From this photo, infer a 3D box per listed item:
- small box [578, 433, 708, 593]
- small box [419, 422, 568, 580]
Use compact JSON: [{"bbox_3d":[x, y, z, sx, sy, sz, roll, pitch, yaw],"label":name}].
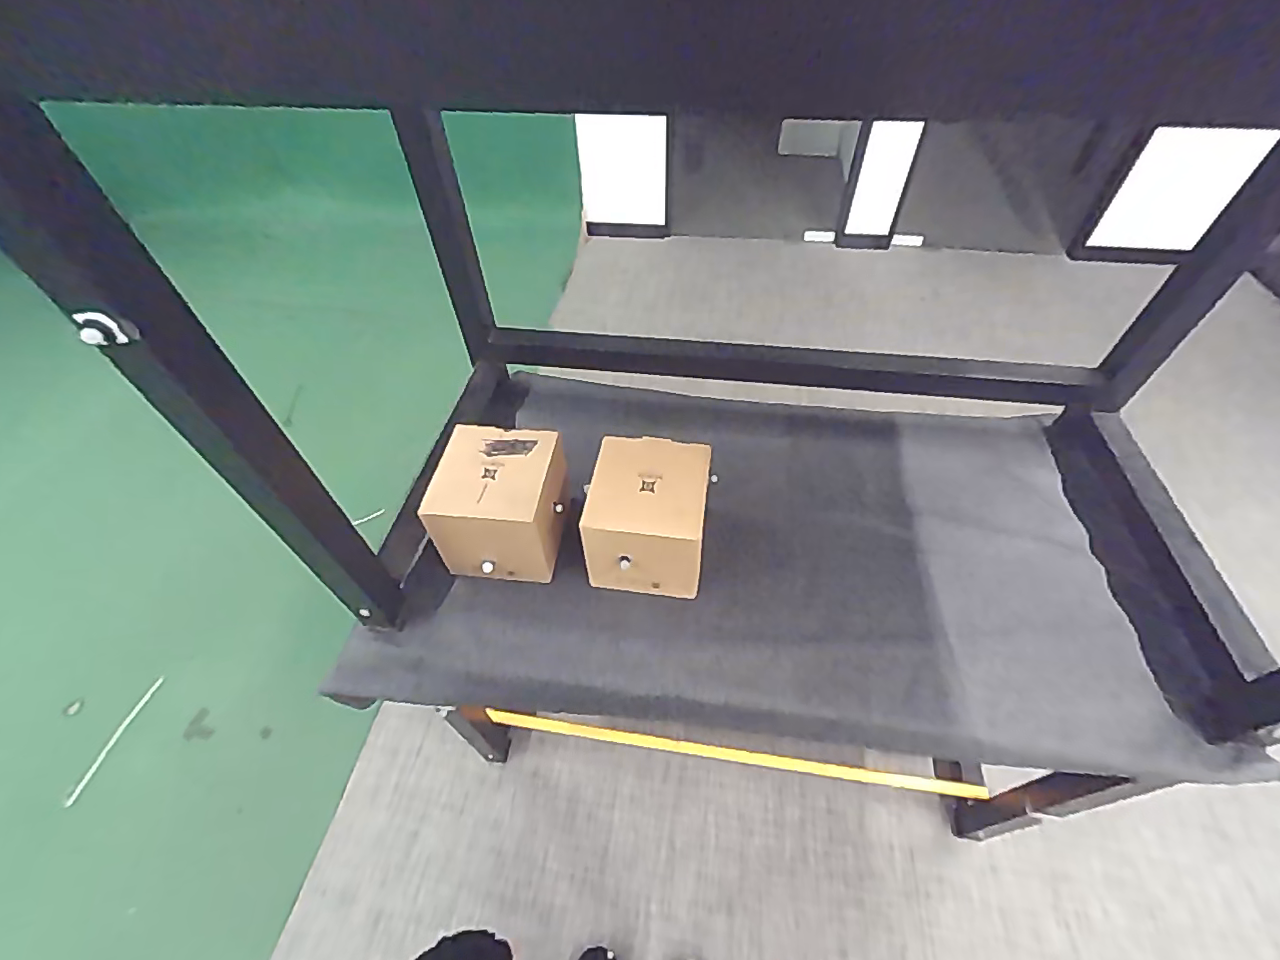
[{"bbox_3d":[0.013,0.053,0.826,0.168,0.176,0.179,6,49,6],"label":"small box"},{"bbox_3d":[-0.213,0.034,0.846,0.168,0.176,0.179,4,50,5],"label":"small box"}]
